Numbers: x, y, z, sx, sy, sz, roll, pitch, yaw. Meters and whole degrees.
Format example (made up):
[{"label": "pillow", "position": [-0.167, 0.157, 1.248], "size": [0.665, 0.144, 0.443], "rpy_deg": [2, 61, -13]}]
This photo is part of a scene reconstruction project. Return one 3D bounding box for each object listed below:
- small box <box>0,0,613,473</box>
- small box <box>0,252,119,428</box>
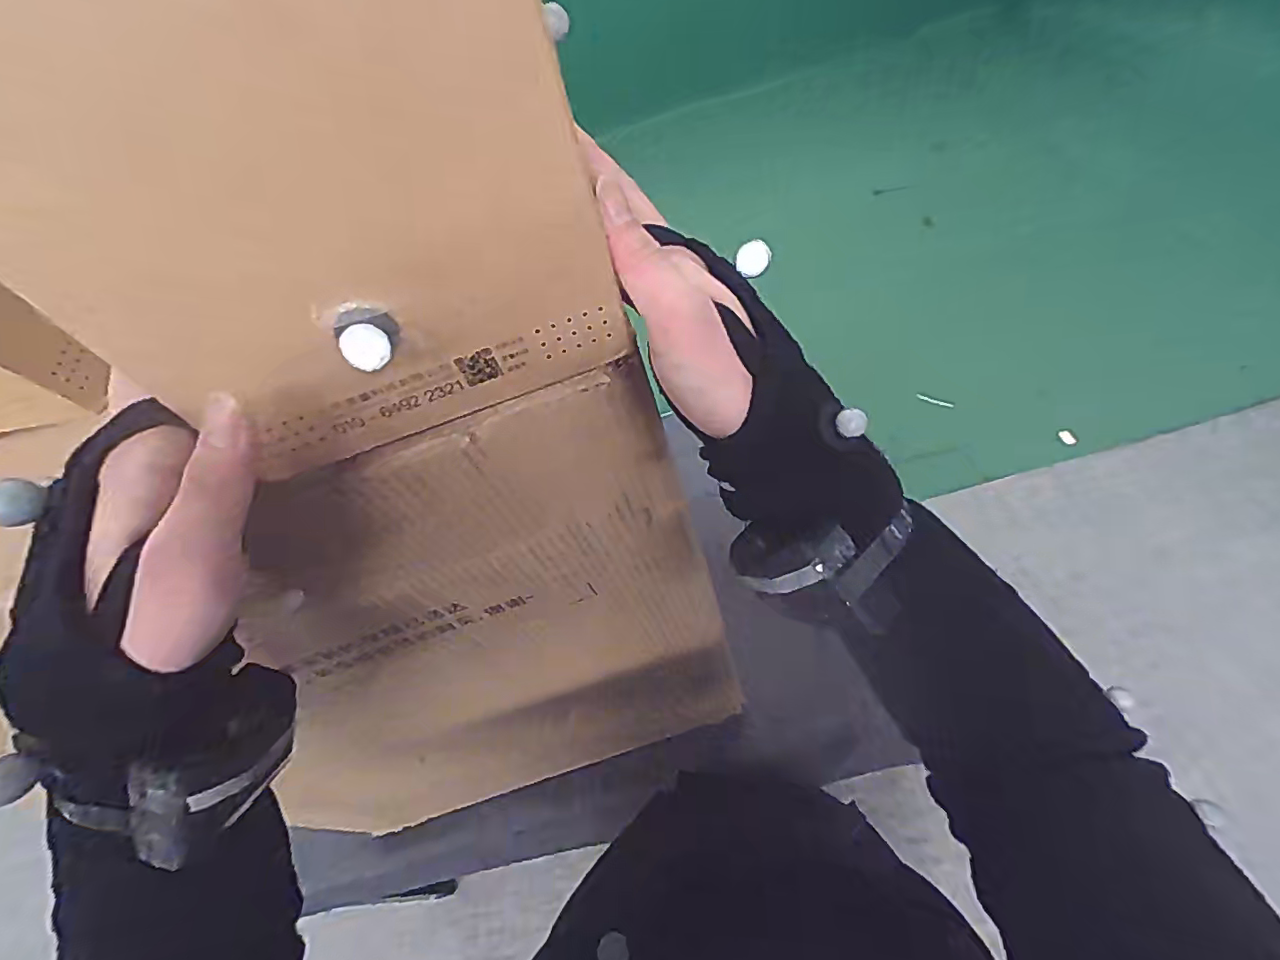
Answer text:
[{"label": "small box", "position": [-0.121, -0.134, 0.211], "size": [0.168, 0.176, 0.179], "rpy_deg": [-19, 54, 0]}, {"label": "small box", "position": [-0.394, -0.130, 0.265], "size": [0.179, 0.176, 0.168], "rpy_deg": [-8, 65, 8]}]
